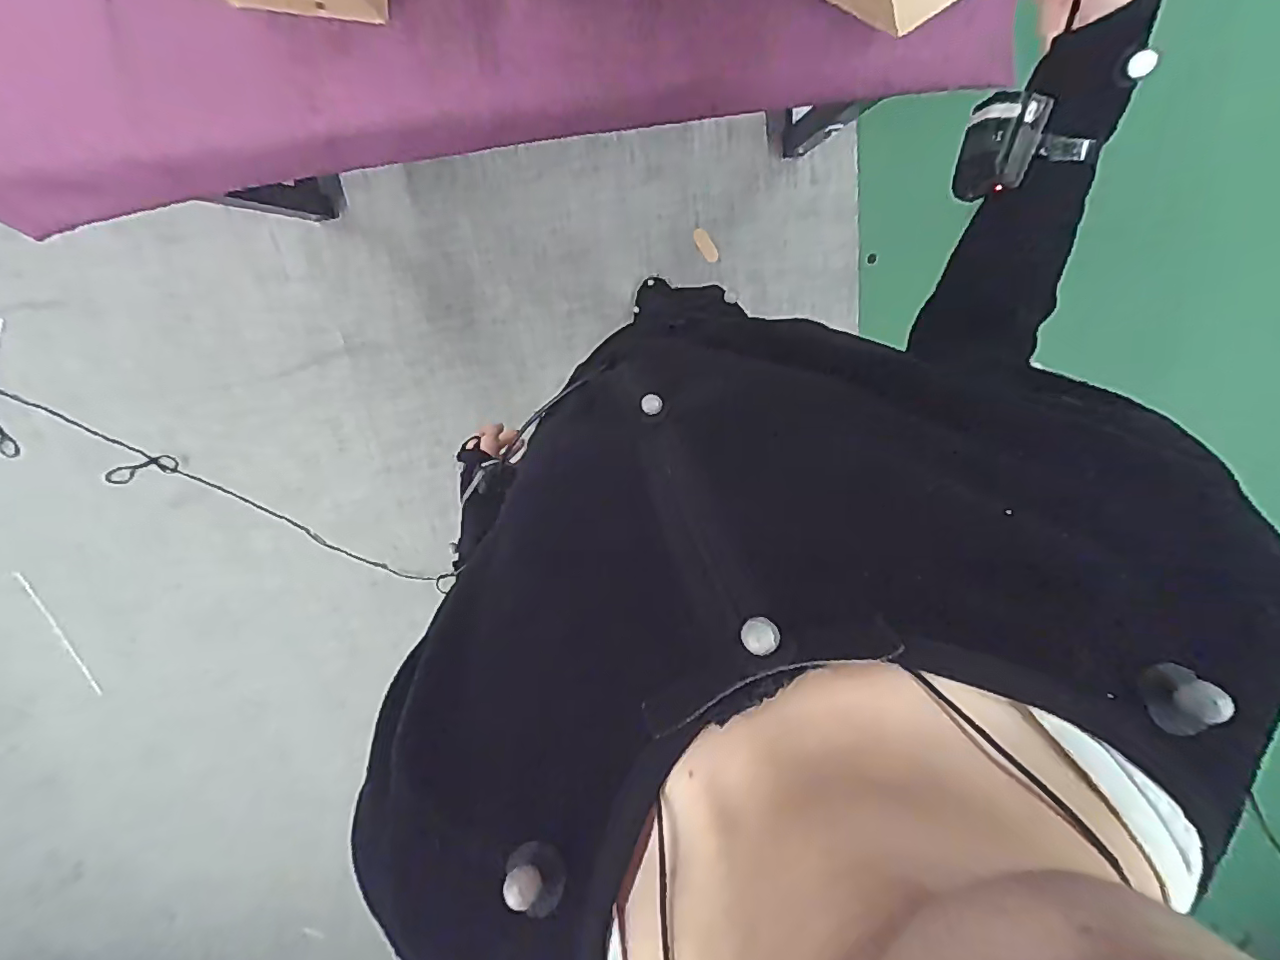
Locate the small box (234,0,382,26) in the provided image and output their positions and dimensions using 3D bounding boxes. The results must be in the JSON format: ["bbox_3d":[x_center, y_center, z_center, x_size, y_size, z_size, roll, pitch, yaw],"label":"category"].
[{"bbox_3d":[-0.347,-0.549,0.481,0.168,0.176,0.179,5,109,-3],"label":"small box"}]
